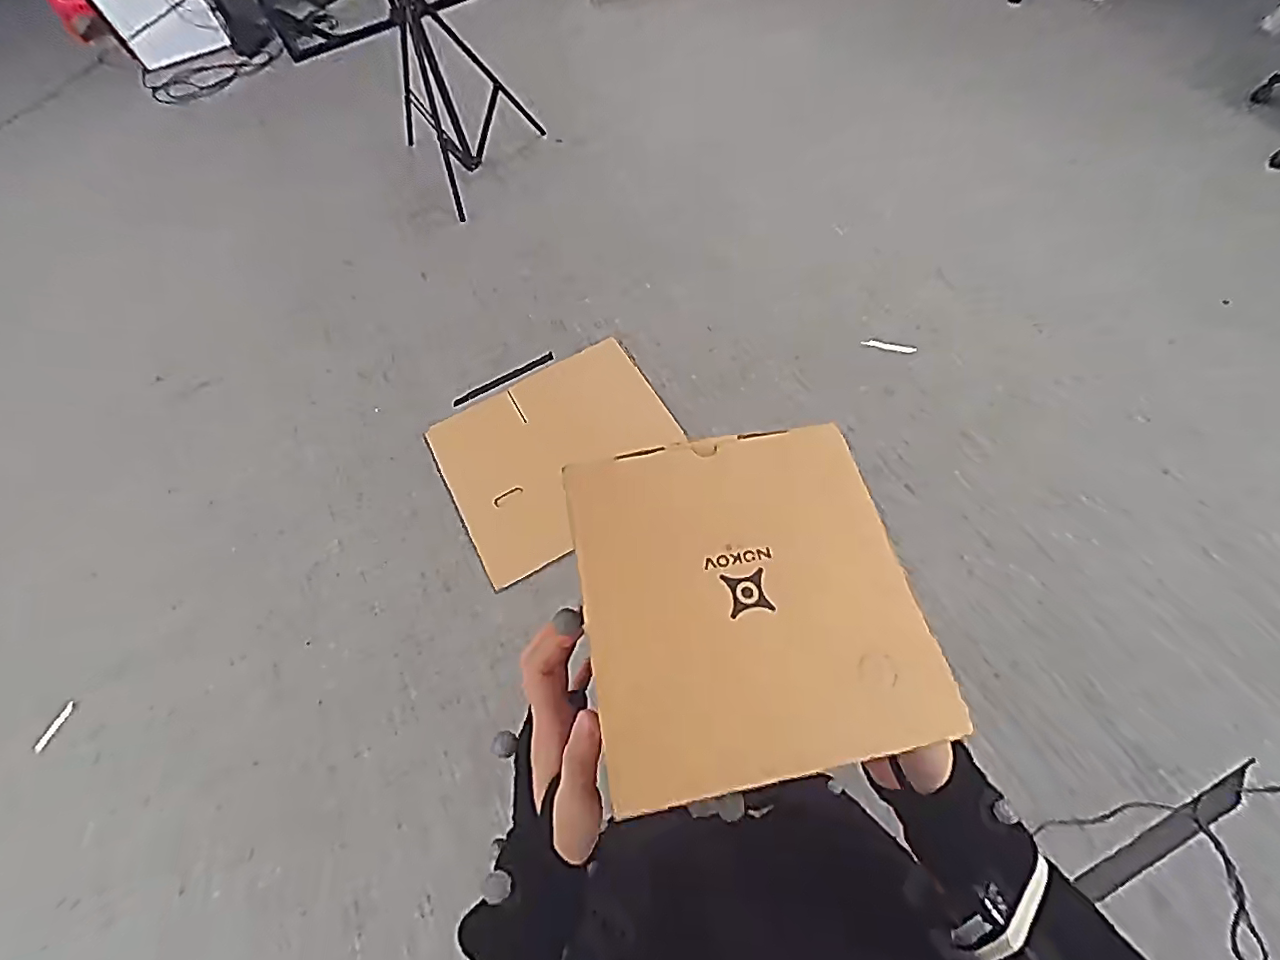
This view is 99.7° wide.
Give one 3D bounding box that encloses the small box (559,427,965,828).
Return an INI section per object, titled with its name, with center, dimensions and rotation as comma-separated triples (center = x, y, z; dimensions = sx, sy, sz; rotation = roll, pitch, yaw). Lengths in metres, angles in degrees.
[small box]
center = 0.049, 0.095, 0.338
dimensions = 0.168, 0.176, 0.179
rotation = -9, 60, -6
